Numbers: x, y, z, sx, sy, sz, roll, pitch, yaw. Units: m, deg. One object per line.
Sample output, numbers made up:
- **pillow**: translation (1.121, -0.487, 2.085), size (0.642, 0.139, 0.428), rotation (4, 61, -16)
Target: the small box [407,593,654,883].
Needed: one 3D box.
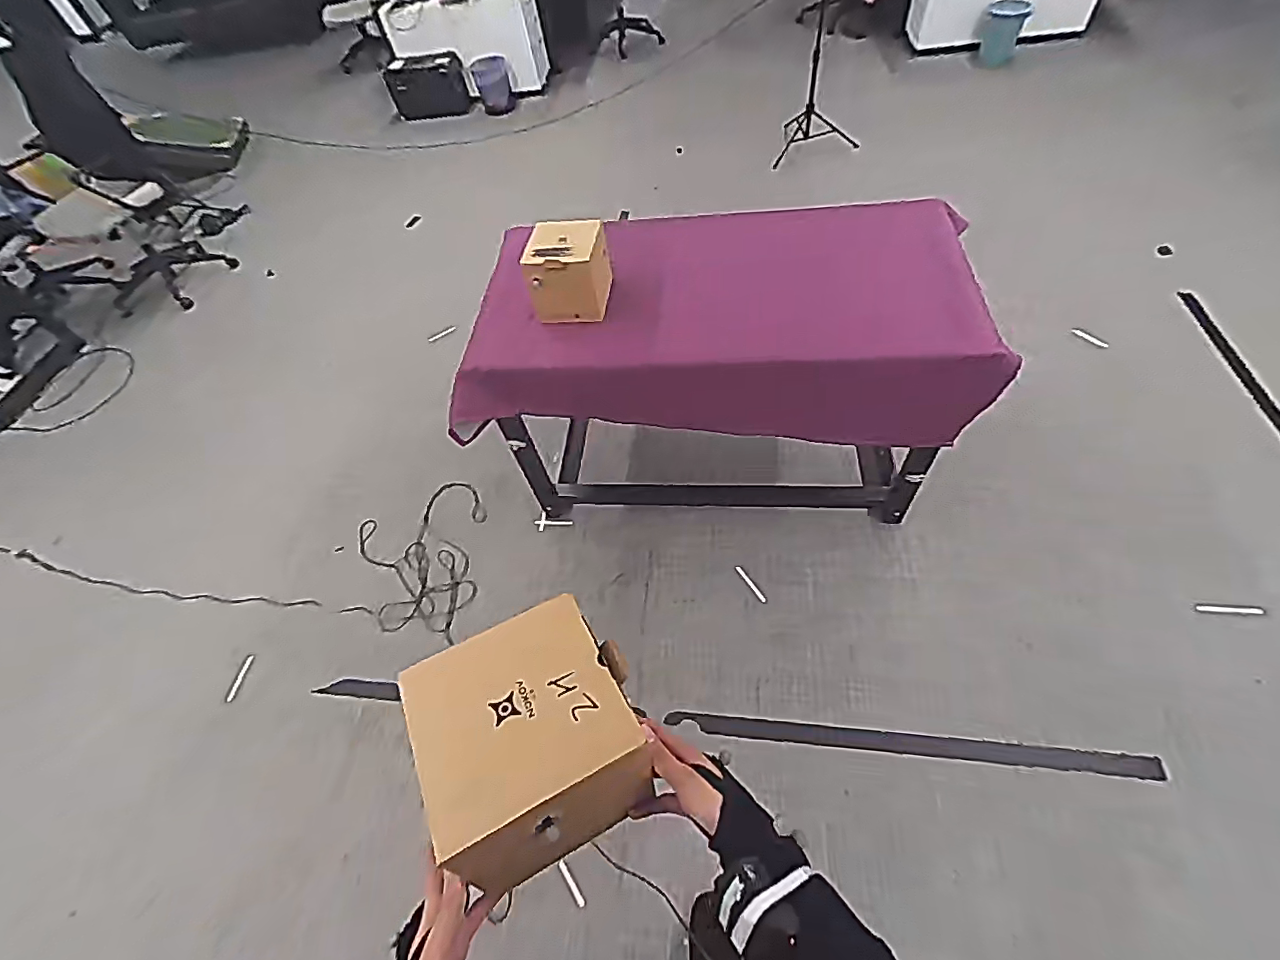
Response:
- **small box**: translation (-0.098, 0.250, 0.525), size (0.179, 0.176, 0.168), rotation (-22, 48, -17)
